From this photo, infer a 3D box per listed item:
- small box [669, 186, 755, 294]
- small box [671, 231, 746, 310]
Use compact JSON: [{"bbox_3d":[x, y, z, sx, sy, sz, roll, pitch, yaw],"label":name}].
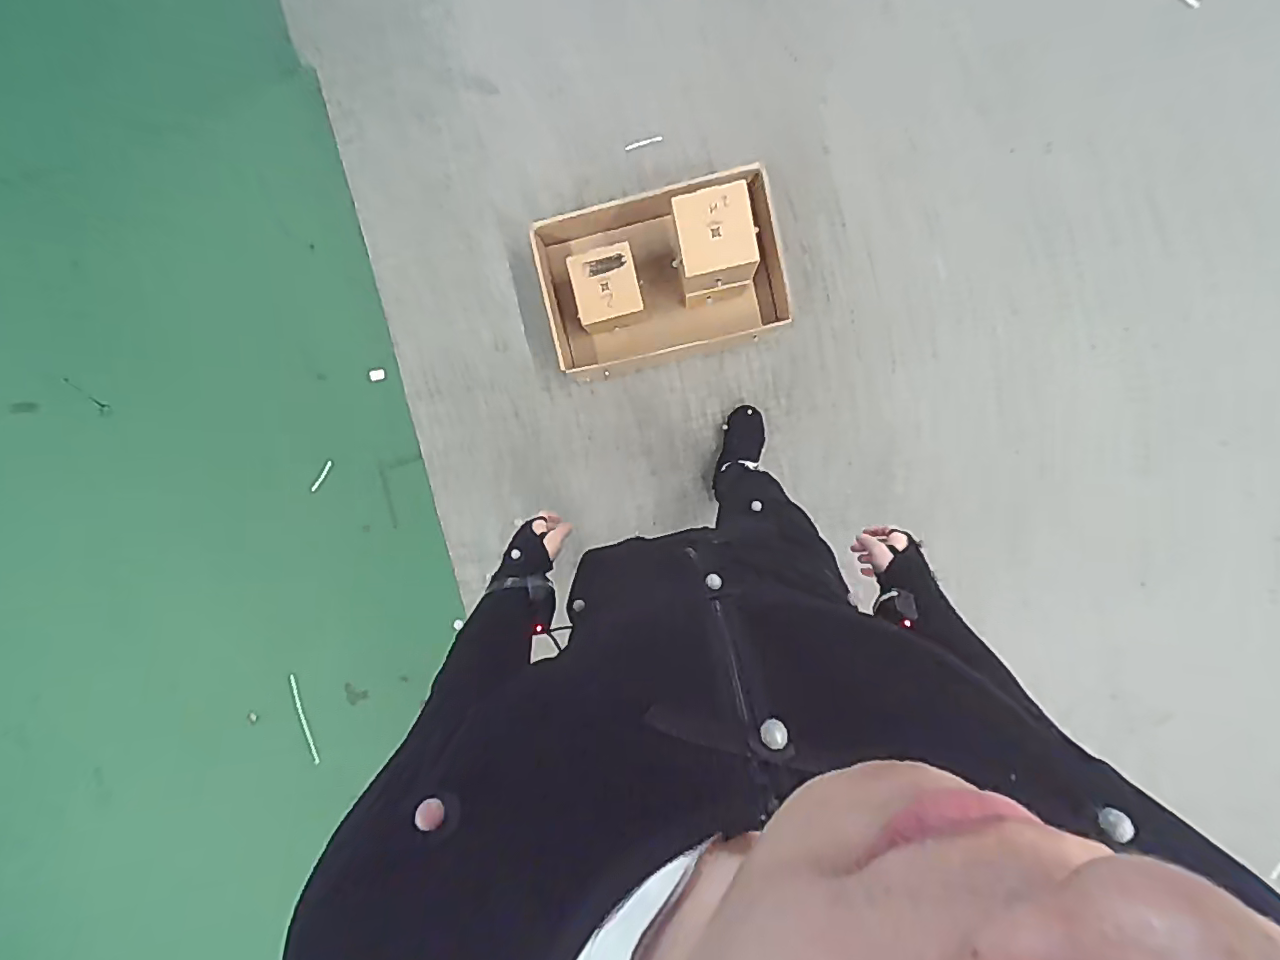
[{"bbox_3d":[0.166,-0.545,1.257,0.168,0.176,0.179,-10,94,6],"label":"small box"},{"bbox_3d":[0.179,-0.558,1.421,0.168,0.176,0.179,-11,94,6],"label":"small box"}]
